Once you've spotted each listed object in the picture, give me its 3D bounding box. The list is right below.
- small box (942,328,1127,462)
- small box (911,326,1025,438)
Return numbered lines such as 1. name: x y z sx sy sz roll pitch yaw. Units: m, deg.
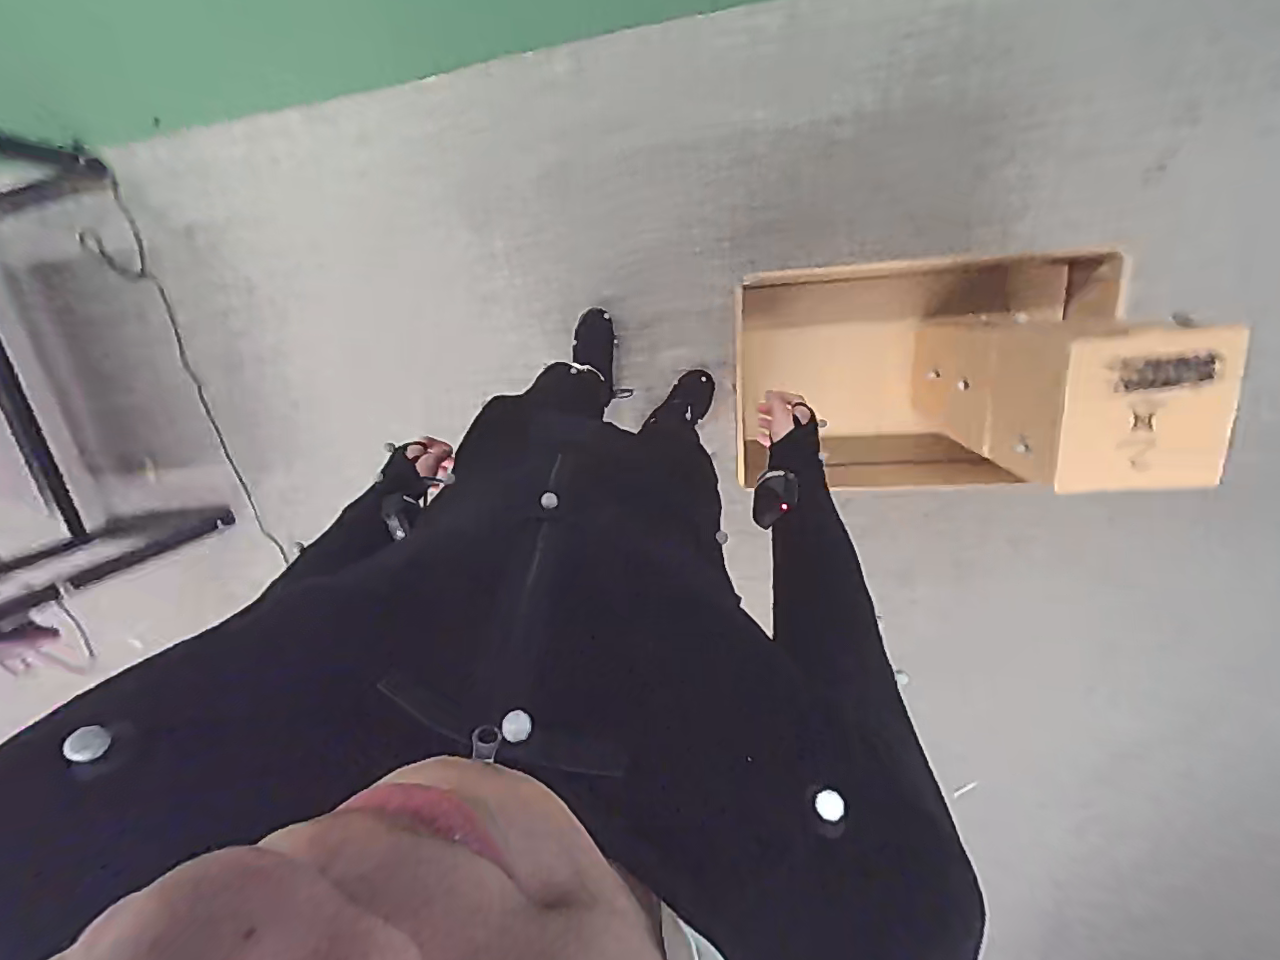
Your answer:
1. small box: 0.580 -0.134 0.823 0.168 0.176 0.179 -3 106 9
2. small box: 0.607 -0.181 0.978 0.168 0.176 0.179 -1 107 9
